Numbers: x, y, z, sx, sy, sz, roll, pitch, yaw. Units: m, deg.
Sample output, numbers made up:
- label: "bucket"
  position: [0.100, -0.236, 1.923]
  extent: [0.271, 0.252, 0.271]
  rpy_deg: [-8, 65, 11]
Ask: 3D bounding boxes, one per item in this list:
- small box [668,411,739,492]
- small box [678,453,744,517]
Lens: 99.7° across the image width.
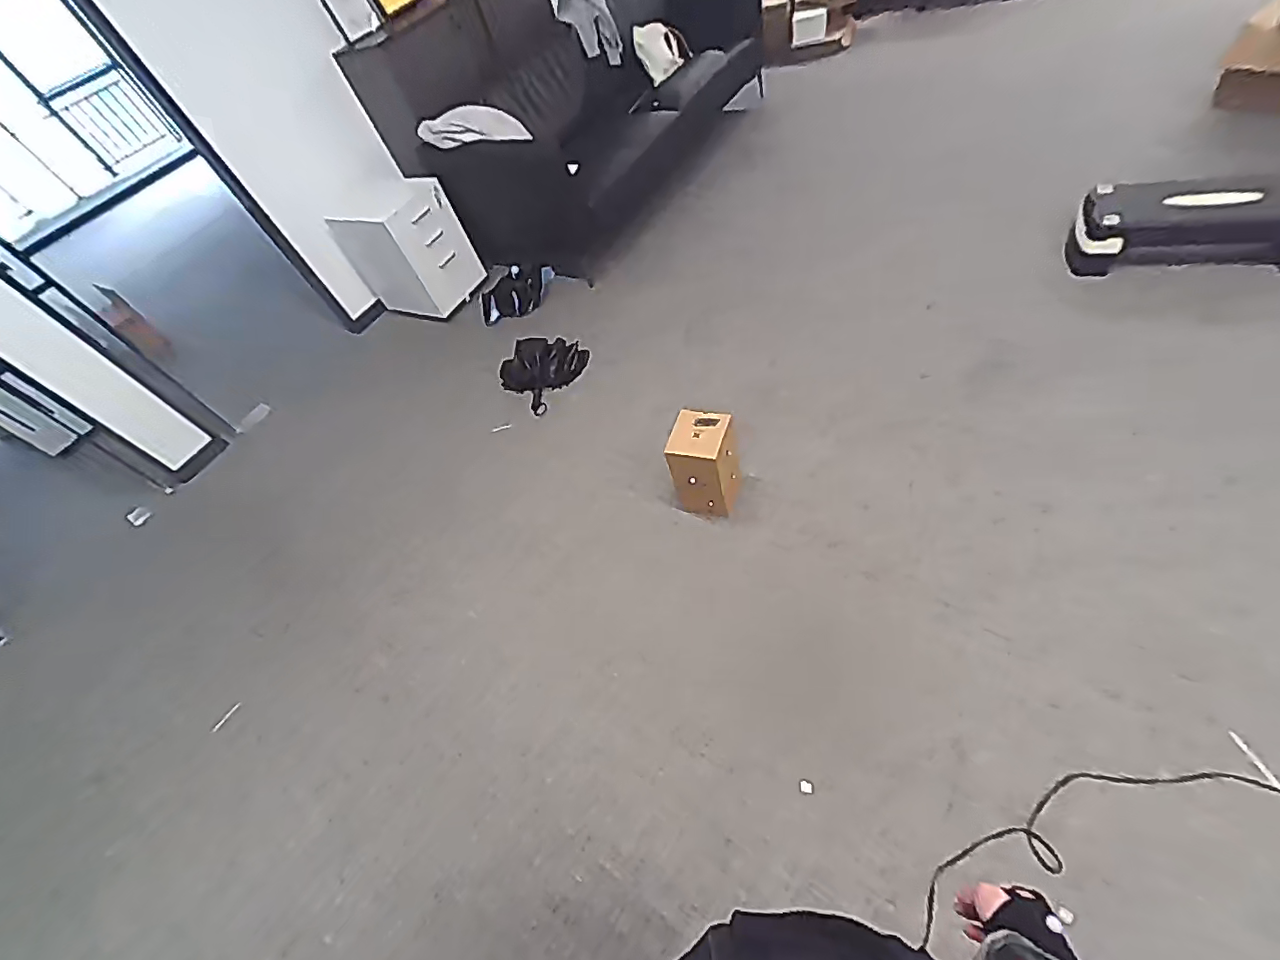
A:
- label: "small box"
  position: [0.205, -0.088, 1.674]
  extent: [0.168, 0.176, 0.179]
  rpy_deg: [9, 59, 24]
- label: "small box"
  position: [0.244, 0.004, 1.804]
  extent: [0.168, 0.176, 0.179]
  rpy_deg: [8, 56, 24]
